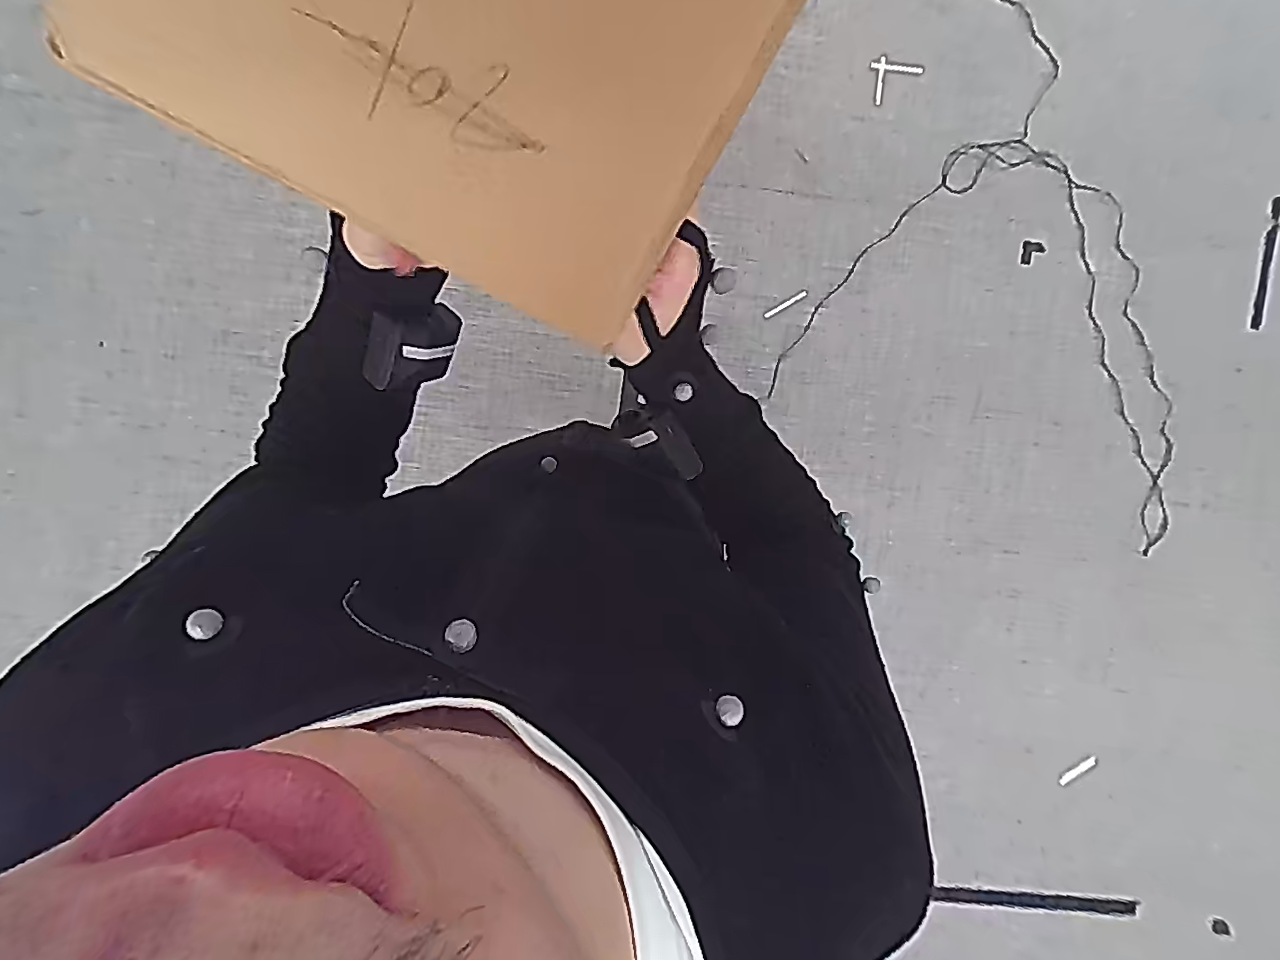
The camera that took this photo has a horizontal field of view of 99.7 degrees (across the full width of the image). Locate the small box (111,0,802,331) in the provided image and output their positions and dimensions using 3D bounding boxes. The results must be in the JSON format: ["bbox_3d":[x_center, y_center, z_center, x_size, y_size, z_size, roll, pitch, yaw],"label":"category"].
[{"bbox_3d":[-0.040,-0.192,0.205,0.168,0.176,0.179,23,118,-16],"label":"small box"}]
